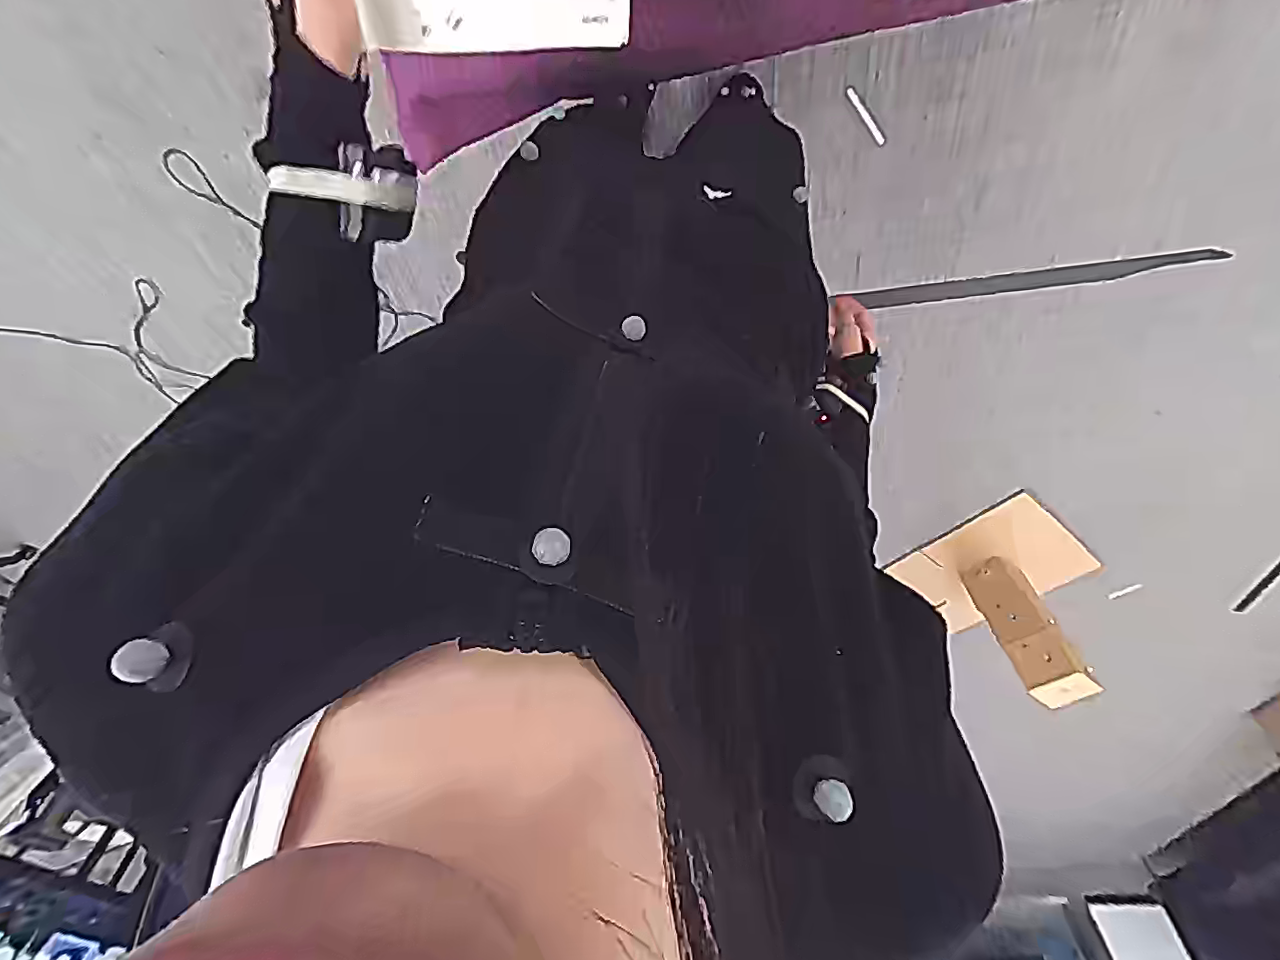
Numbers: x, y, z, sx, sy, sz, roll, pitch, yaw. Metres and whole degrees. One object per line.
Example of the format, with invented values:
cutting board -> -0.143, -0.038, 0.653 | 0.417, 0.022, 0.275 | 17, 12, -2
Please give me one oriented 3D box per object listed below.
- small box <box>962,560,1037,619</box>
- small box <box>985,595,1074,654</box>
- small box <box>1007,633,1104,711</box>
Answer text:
small box -> 1.374, 0.433, 2.056 | 0.179, 0.176, 0.168 | 29, 125, -21
small box -> 1.376, 0.533, 1.924 | 0.179, 0.176, 0.168 | 30, 126, -23
small box -> 1.370, 0.632, 1.795 | 0.179, 0.176, 0.168 | 31, 124, -24
